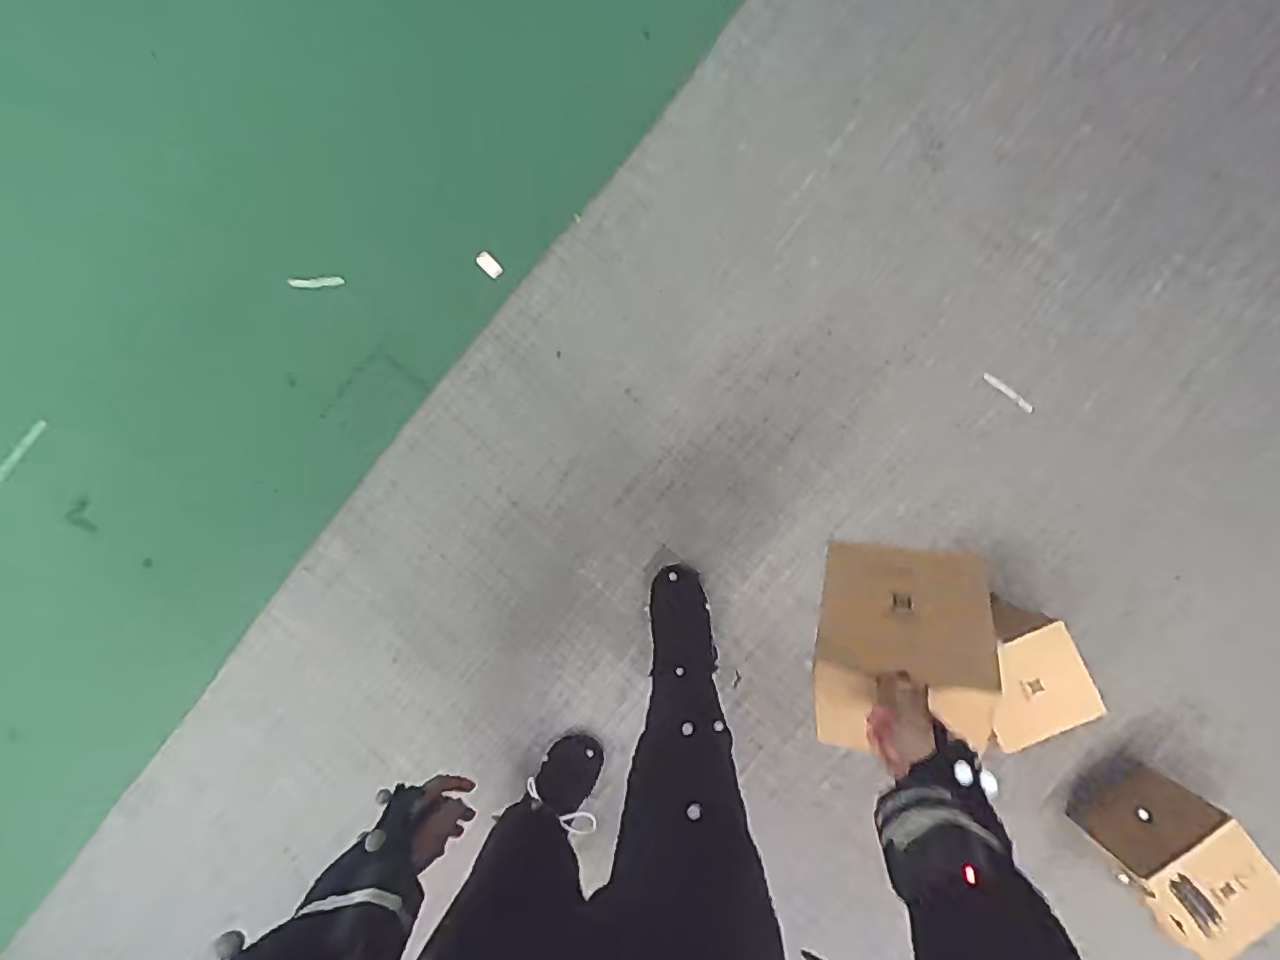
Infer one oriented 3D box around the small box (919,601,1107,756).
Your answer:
[{"bbox_3d":[0.626,0.328,0.932,0.179,0.176,0.168,-26,88,4],"label":"small box"}]
